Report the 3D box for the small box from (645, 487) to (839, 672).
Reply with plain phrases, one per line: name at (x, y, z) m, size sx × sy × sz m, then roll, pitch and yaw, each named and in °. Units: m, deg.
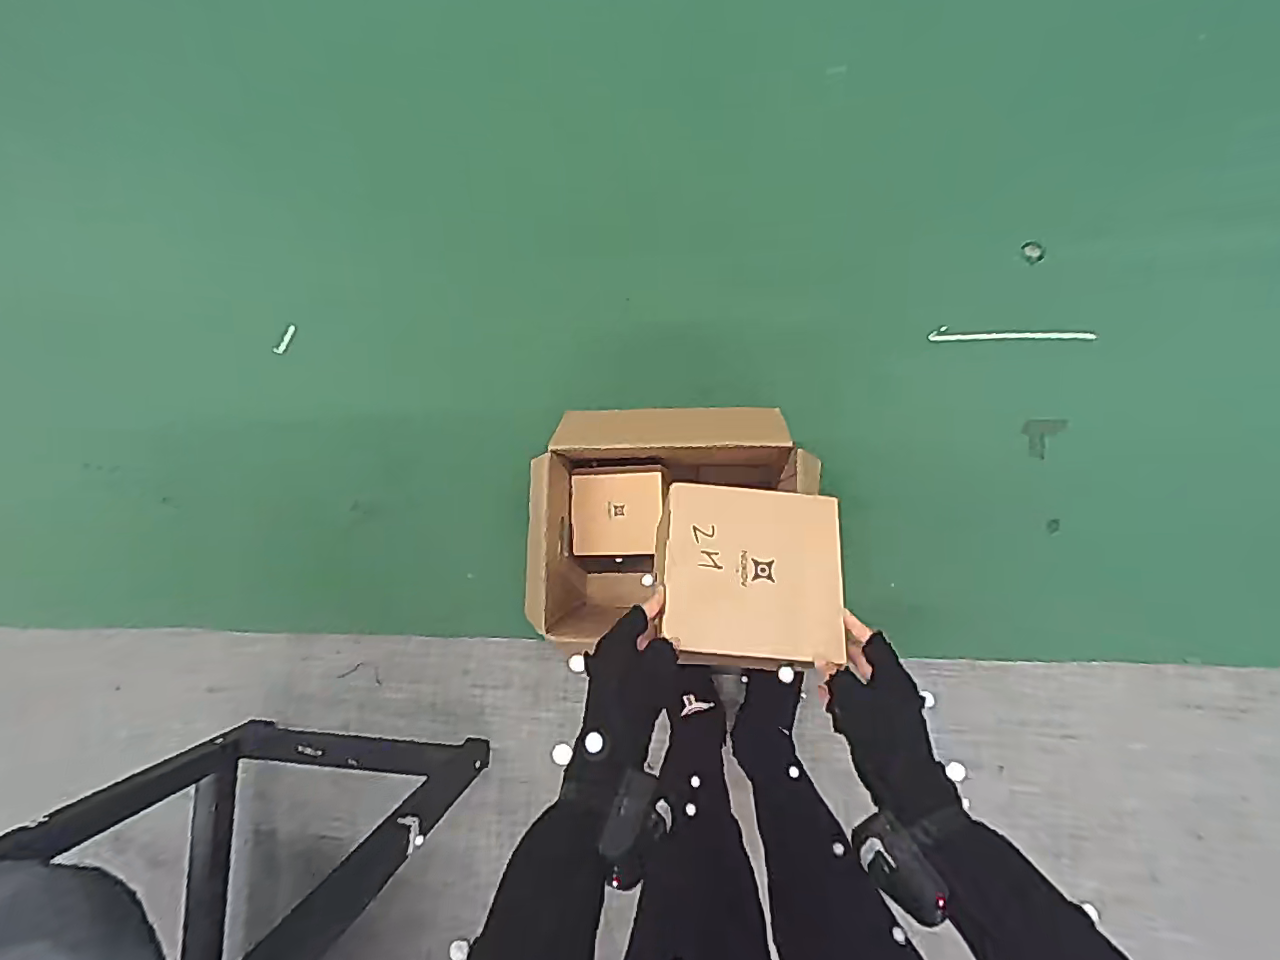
small box at (0.104, 0.120, 0.605) m, size 0.179 × 0.176 × 0.168 m, roll 6°, pitch 68°, yaw 0°
